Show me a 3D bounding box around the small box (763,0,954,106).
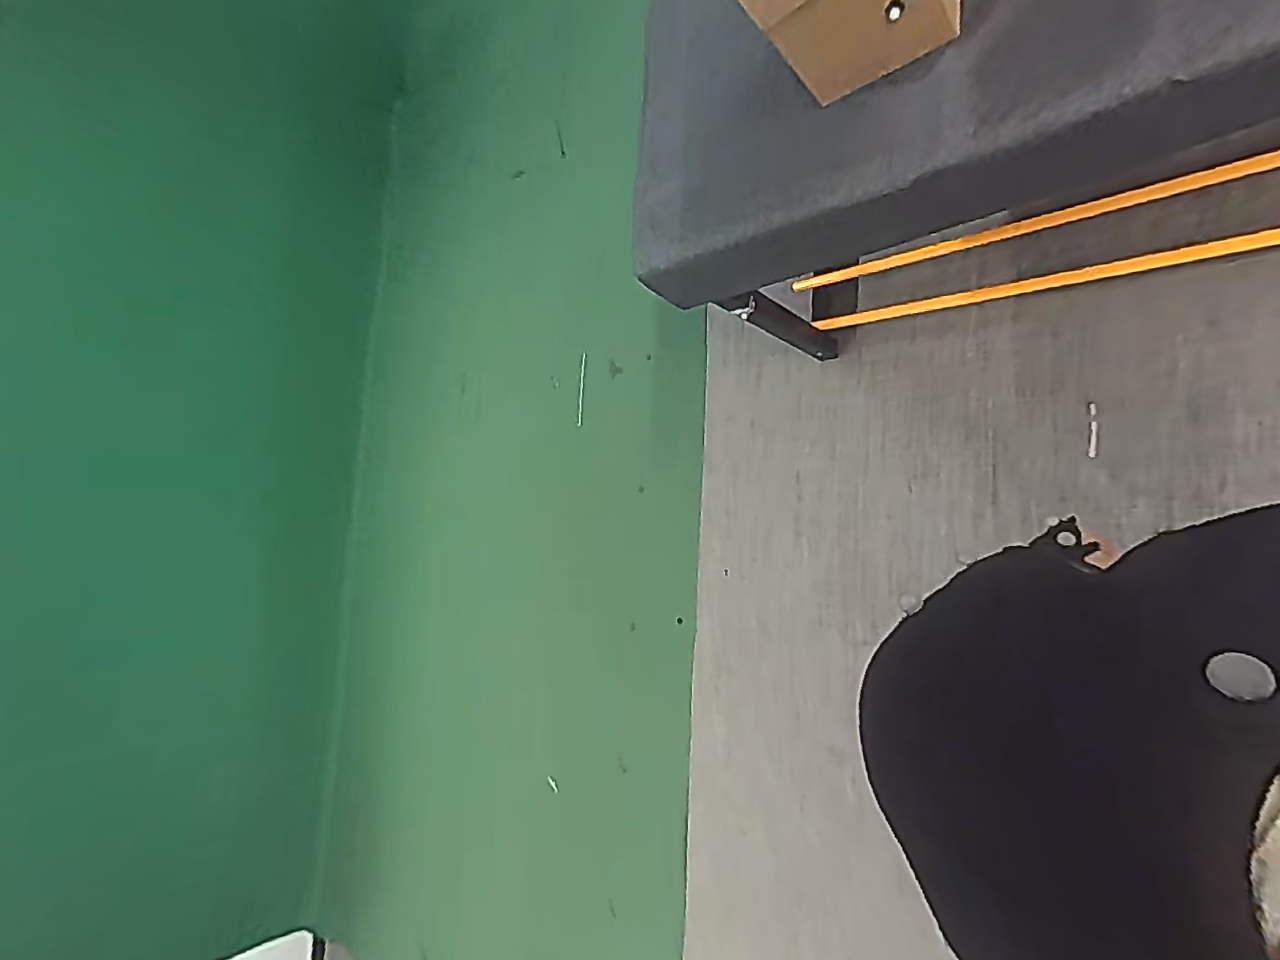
[{"bbox_3d":[0.272,-0.618,0.663,0.179,0.176,0.168,-3,81,45],"label":"small box"}]
